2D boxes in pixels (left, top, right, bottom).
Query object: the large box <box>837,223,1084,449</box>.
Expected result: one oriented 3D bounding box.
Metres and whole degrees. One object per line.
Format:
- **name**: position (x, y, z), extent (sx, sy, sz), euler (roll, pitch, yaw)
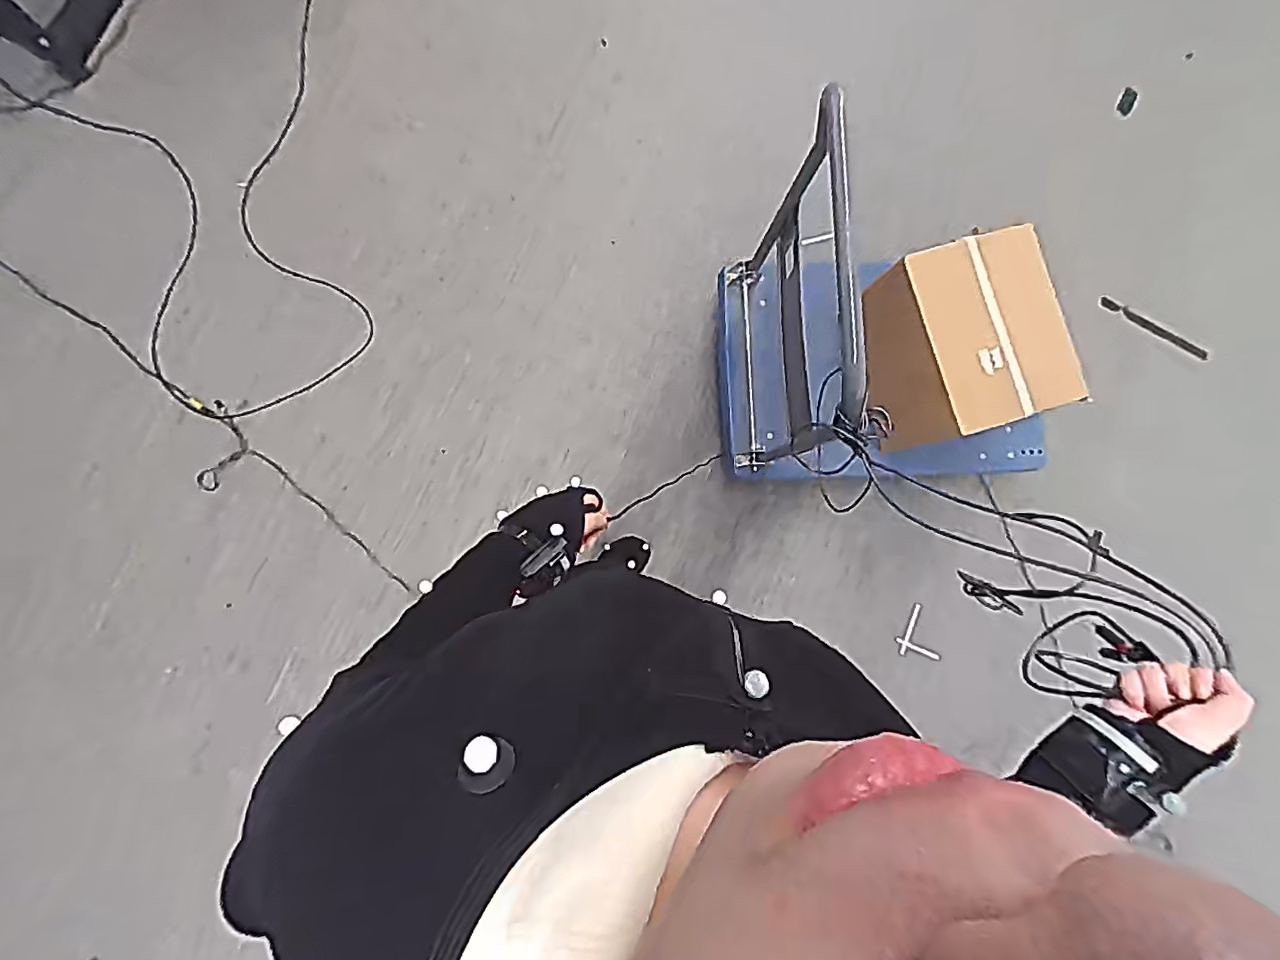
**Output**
- **large box**: position (0.734, -0.319, 1.294), extent (0.320, 0.320, 0.408), euler (-17, 88, -6)
